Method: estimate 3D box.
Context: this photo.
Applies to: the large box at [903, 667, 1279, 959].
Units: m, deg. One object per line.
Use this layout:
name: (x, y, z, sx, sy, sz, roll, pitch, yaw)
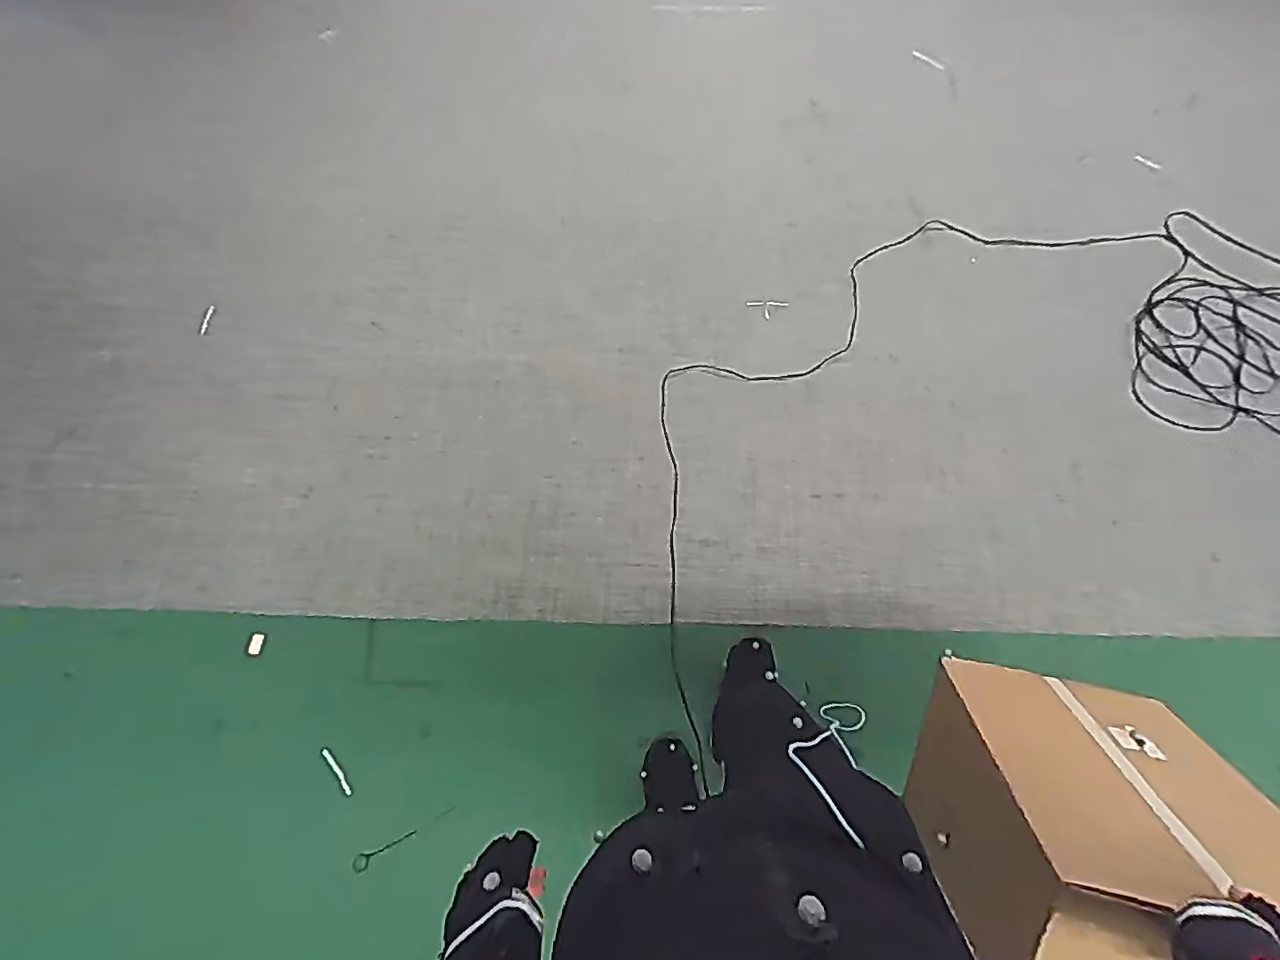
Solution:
large box: (0.572, 0.510, 0.694, 0.320, 0.408, 0.320, 10, 104, 12)
